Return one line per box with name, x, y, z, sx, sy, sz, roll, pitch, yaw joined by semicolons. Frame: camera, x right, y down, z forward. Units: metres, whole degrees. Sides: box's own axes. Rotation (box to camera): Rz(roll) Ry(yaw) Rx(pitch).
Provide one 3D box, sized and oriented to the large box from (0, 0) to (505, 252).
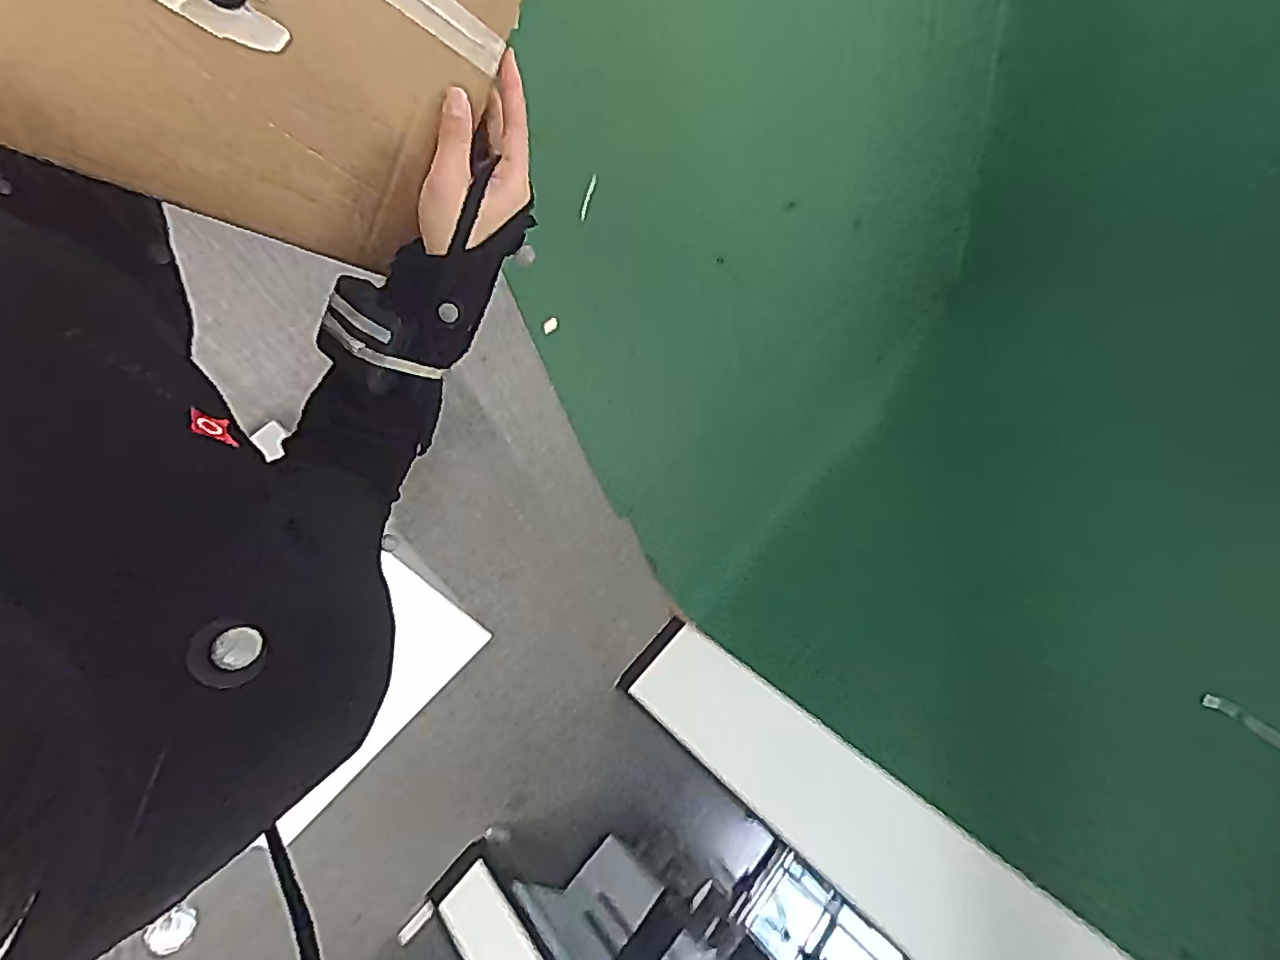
large box;-0.310;-0.380;0.264;0.408;0.320;0.320;2;129;-52
